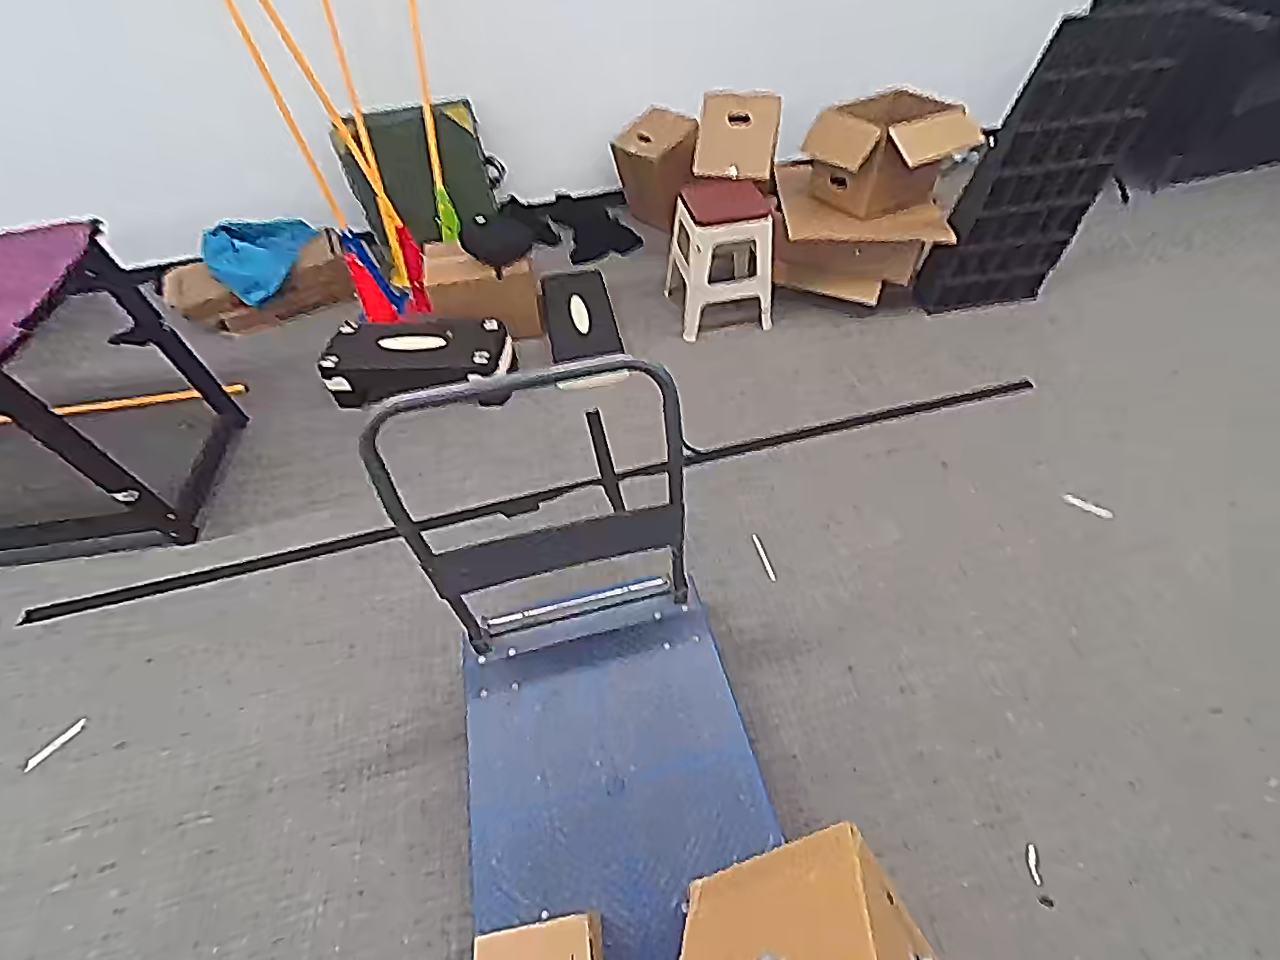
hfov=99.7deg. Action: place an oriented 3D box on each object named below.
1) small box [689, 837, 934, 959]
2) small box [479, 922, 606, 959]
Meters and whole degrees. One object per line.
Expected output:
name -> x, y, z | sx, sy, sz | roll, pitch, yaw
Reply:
small box -> 0.147, 0.439, 0.432 | 0.179, 0.176, 0.168 | -33, 87, 14
small box -> -0.139, 0.797, 0.828 | 0.179, 0.176, 0.168 | -10, 50, -3
